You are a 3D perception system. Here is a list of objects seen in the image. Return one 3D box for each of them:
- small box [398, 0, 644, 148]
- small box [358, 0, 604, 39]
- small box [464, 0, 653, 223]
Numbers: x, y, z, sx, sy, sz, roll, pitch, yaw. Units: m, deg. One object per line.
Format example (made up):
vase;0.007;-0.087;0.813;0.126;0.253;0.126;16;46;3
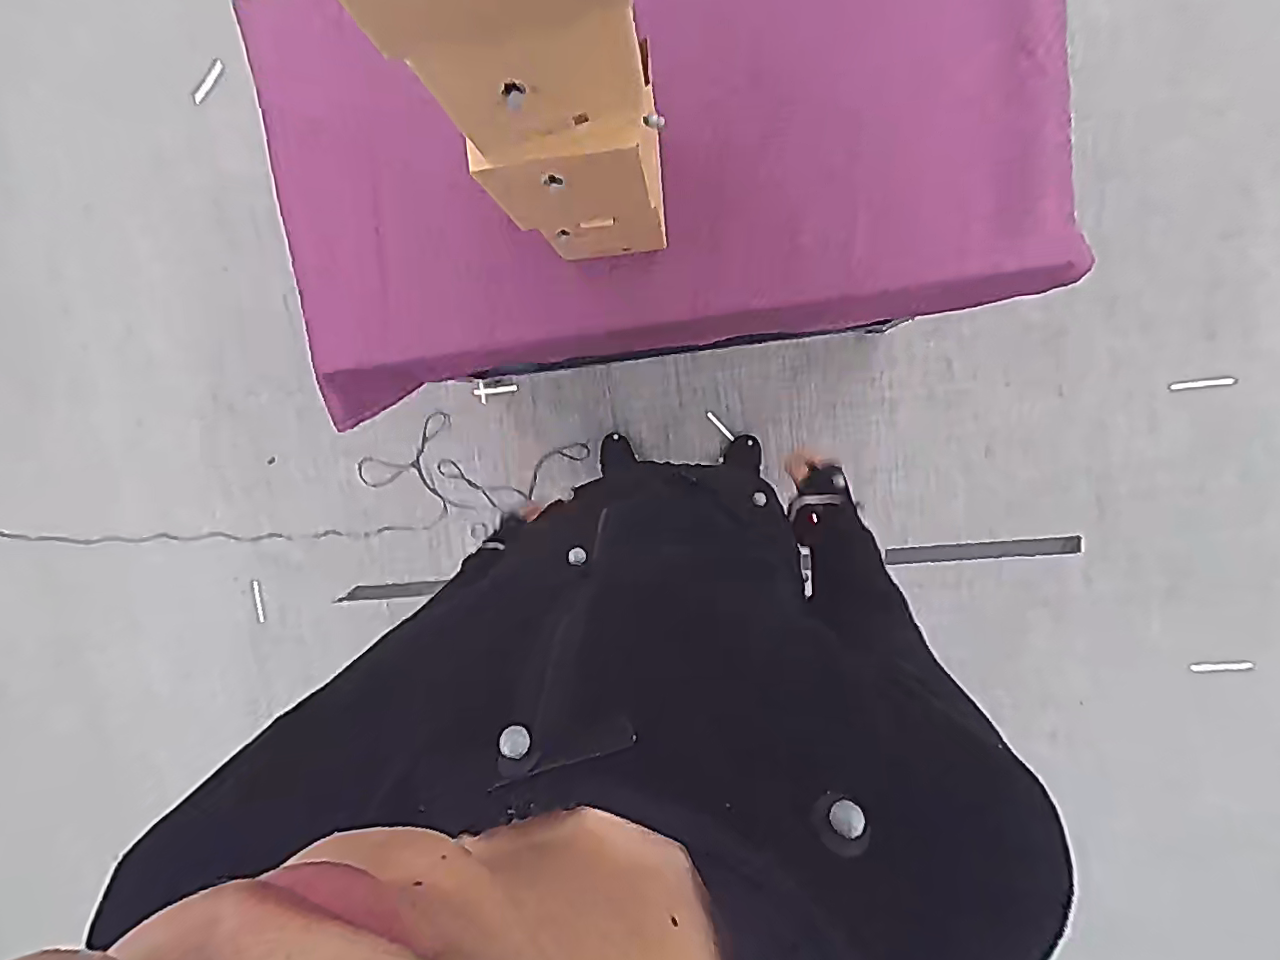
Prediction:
small box;-0.098;-0.407;0.442;0.168;0.176;0.179;-12;93;7
small box;-0.107;-0.378;0.280;0.179;0.176;0.168;-6;95;6
small box;-0.084;-0.406;0.604;0.179;0.176;0.168;-4;96;6
